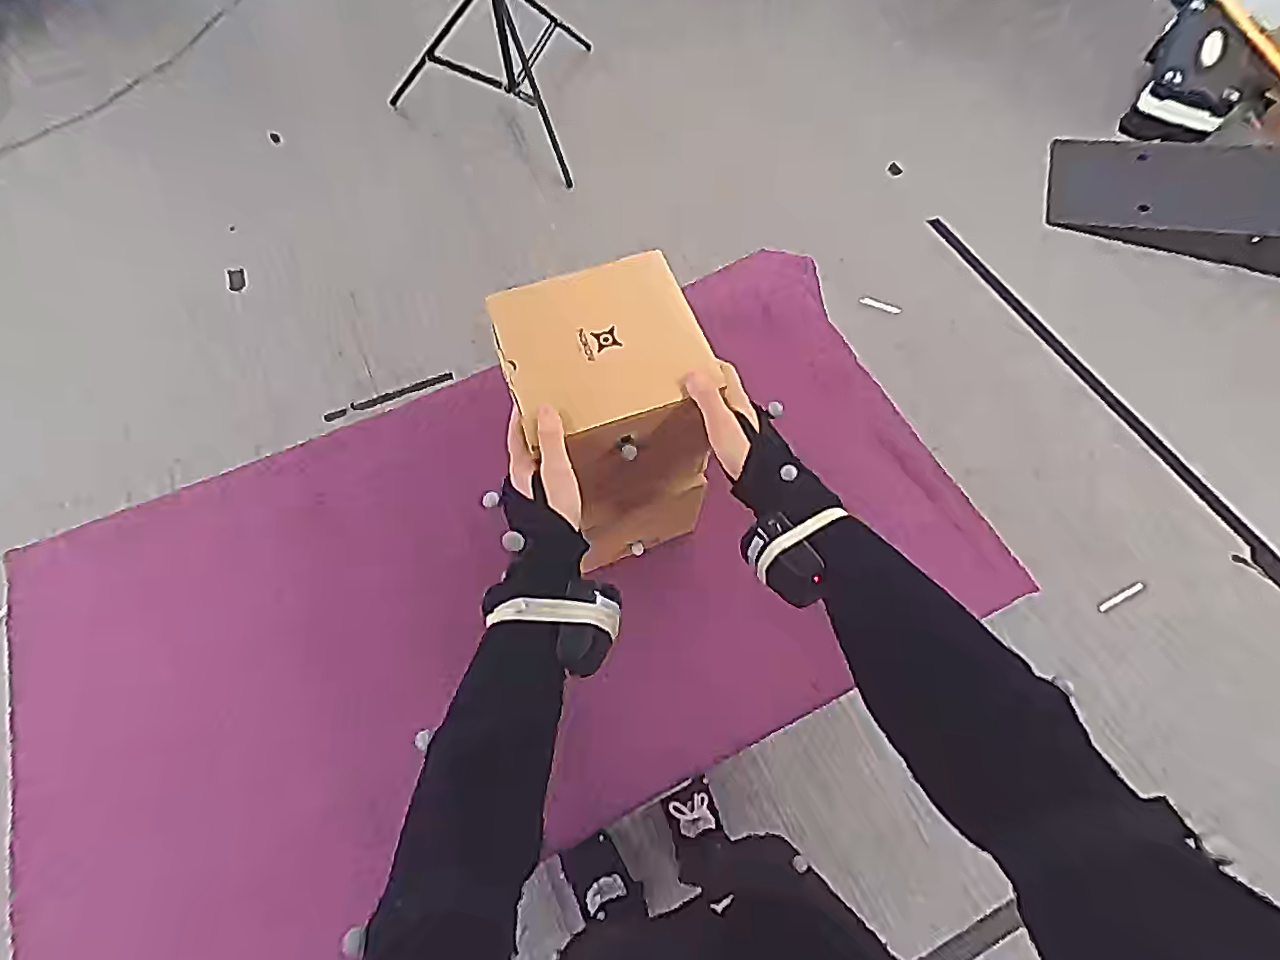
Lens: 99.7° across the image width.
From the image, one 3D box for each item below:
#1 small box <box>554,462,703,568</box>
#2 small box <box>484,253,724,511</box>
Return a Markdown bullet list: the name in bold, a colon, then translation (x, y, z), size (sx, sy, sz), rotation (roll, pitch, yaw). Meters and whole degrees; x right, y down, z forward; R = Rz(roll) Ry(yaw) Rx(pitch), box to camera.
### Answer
- **small box**: translation (-0.036, -0.011, 0.690), size (0.168, 0.176, 0.179), rotation (-21, 69, -8)
- **small box**: translation (-0.036, -0.089, 0.547), size (0.179, 0.176, 0.168), rotation (-19, 68, -7)
